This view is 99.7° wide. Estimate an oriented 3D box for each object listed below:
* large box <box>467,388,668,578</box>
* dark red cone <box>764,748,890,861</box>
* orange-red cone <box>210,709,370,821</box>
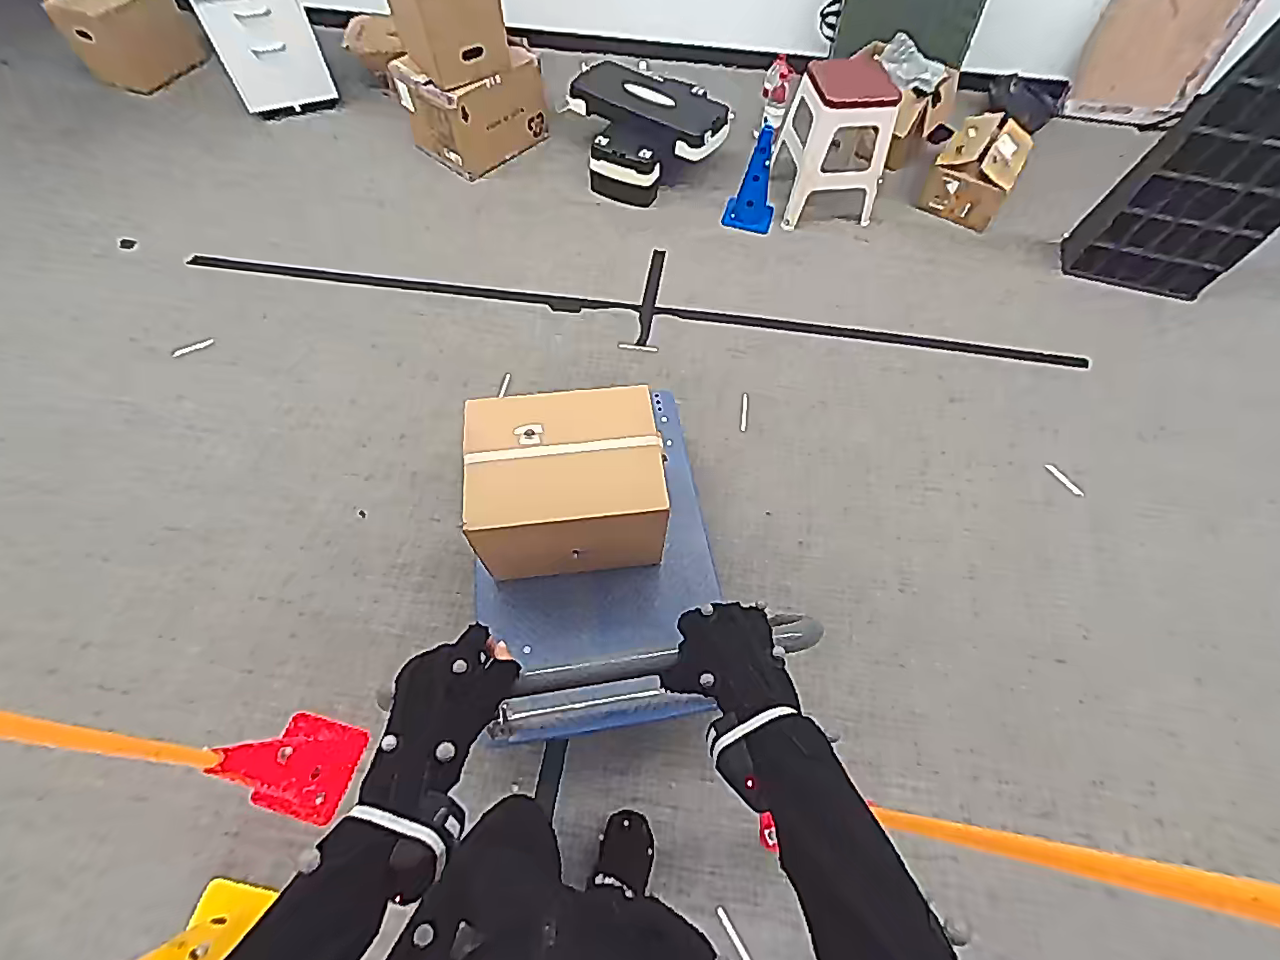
[{"bbox_3d":[-0.160,0.018,1.261,0.408,0.320,0.320,-6,62,-4],"label":"large box"},{"bbox_3d":[0.386,0.641,1.070,0.201,0.394,0.202,9,61,1],"label":"dark red cone"},{"bbox_3d":[-0.745,0.565,1.100,0.198,0.360,0.199,15,60,6],"label":"orange-red cone"}]
